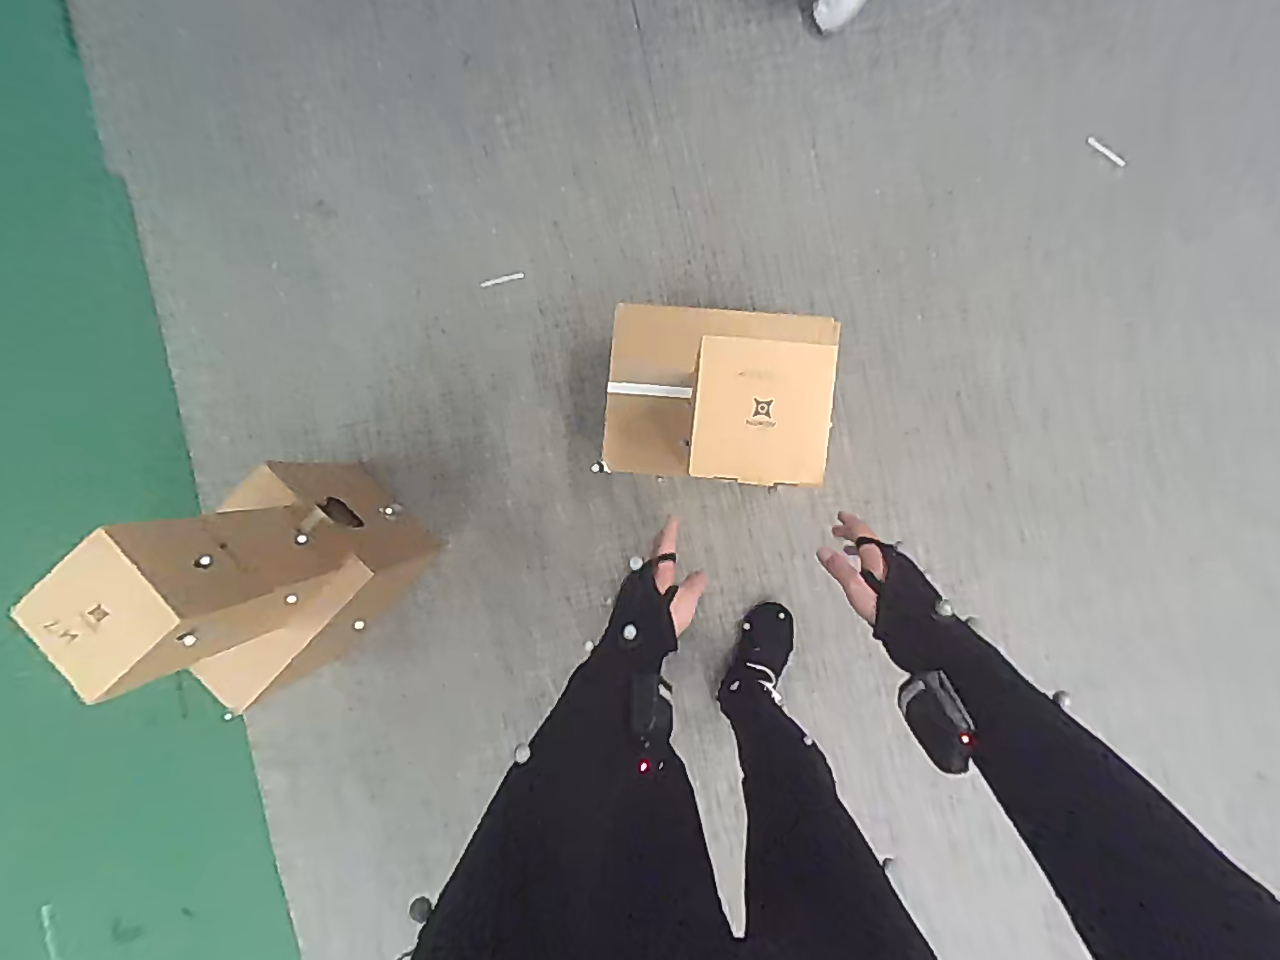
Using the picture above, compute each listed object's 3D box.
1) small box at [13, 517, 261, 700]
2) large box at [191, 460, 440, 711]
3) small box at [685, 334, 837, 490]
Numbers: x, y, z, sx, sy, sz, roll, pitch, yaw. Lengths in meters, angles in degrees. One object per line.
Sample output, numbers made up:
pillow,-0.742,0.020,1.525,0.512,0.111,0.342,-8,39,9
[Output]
small box,-0.700,0.170,0.781,0.179,0.176,0.168,-41,89,4
large box,-0.735,0.201,1.196,0.320,0.320,0.408,44,94,3
small box,0.151,-0.085,0.730,0.168,0.176,0.179,6,92,3
